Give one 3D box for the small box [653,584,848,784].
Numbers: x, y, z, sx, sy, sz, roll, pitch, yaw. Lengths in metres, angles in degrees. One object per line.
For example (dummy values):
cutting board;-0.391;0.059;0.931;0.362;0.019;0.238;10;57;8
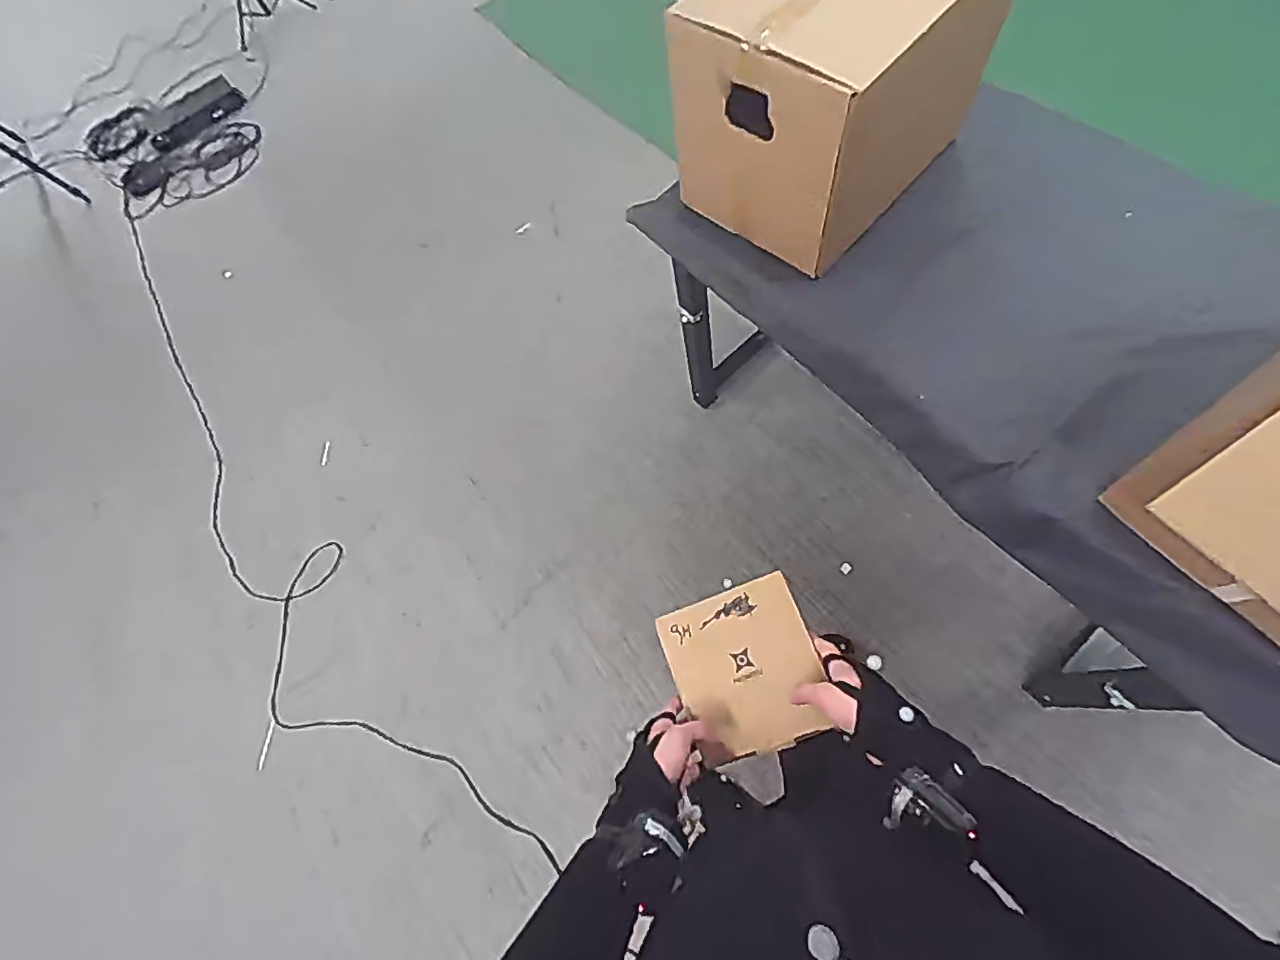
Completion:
small box;0.138;0.237;0.672;0.168;0.176;0.179;-24;74;9
